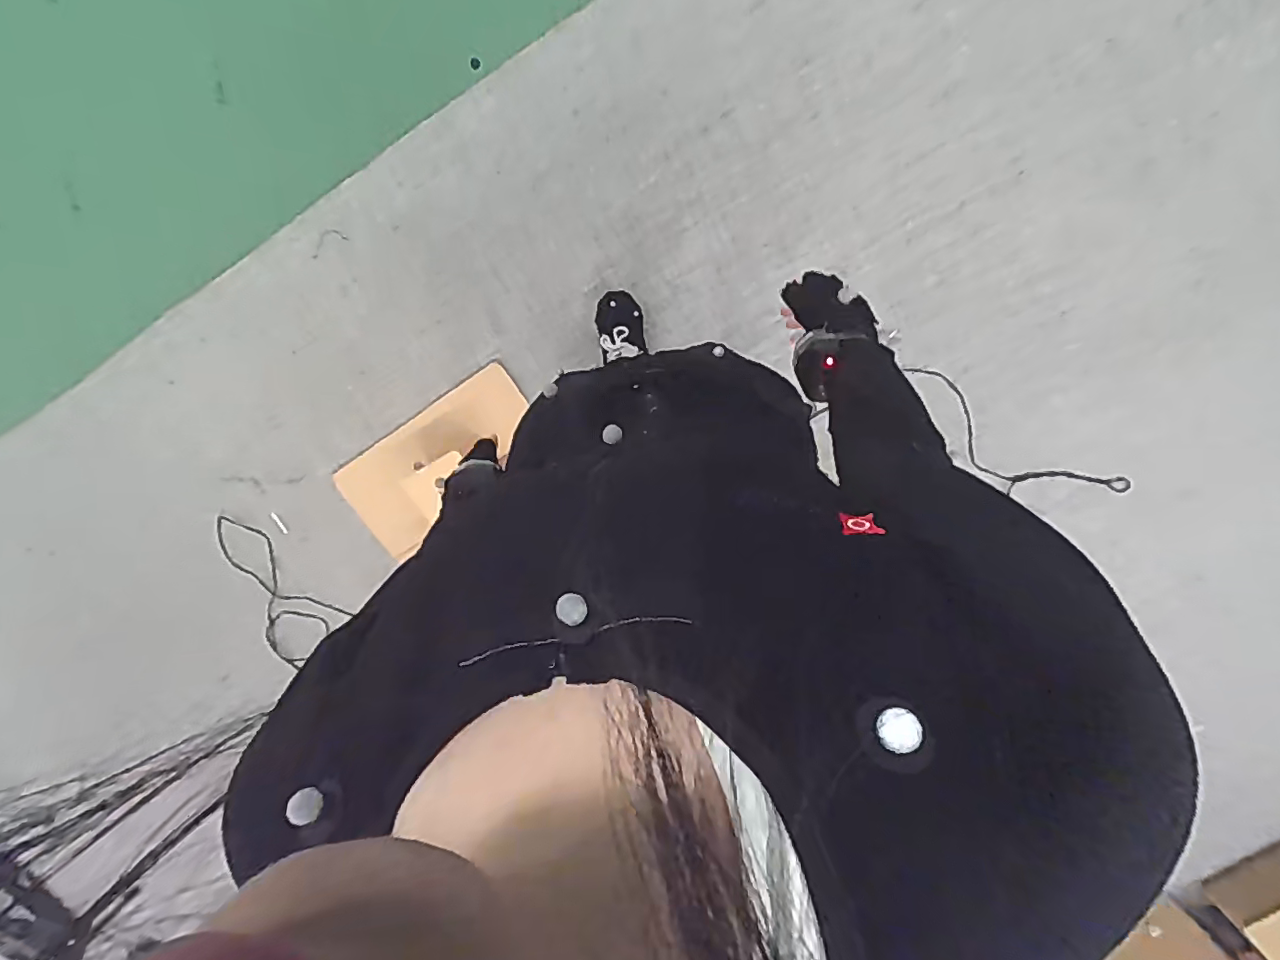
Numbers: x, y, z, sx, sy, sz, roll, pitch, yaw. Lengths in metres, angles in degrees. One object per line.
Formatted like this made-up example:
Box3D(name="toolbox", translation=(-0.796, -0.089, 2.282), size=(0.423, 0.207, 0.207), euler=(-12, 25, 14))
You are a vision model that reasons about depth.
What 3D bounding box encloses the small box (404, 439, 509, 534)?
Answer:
Box3D(name="small box", translation=(-0.476, 0.012, 1.430), size=(0.179, 0.176, 0.168), euler=(-28, 104, 9))
